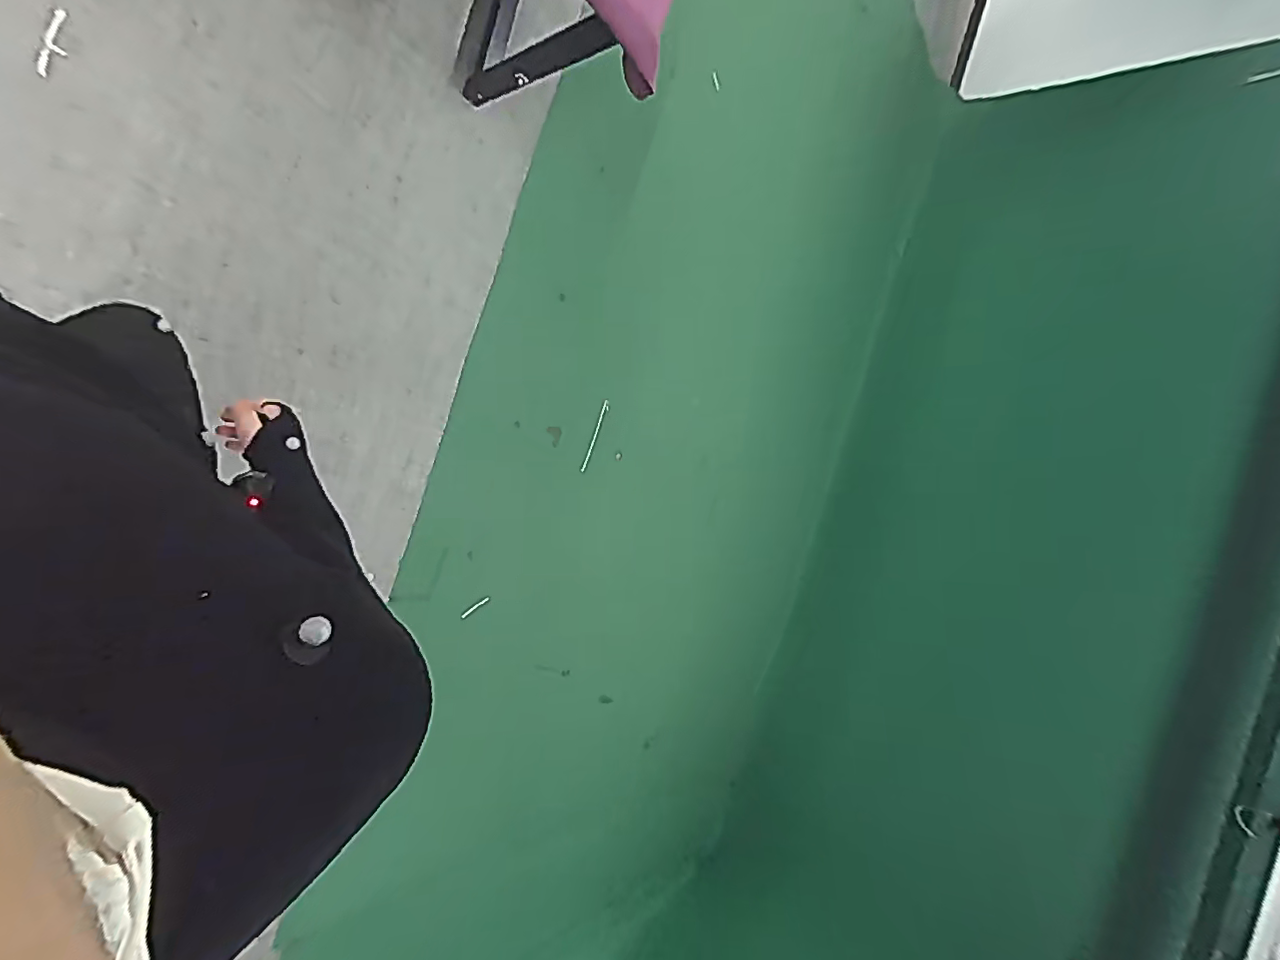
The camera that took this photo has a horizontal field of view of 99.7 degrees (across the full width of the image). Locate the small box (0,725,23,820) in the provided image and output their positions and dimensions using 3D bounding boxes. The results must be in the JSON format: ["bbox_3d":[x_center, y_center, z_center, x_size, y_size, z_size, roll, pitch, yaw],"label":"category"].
[{"bbox_3d":[-1.344,0.602,1.046,0.168,0.176,0.179,26,85,-49],"label":"small box"}]
